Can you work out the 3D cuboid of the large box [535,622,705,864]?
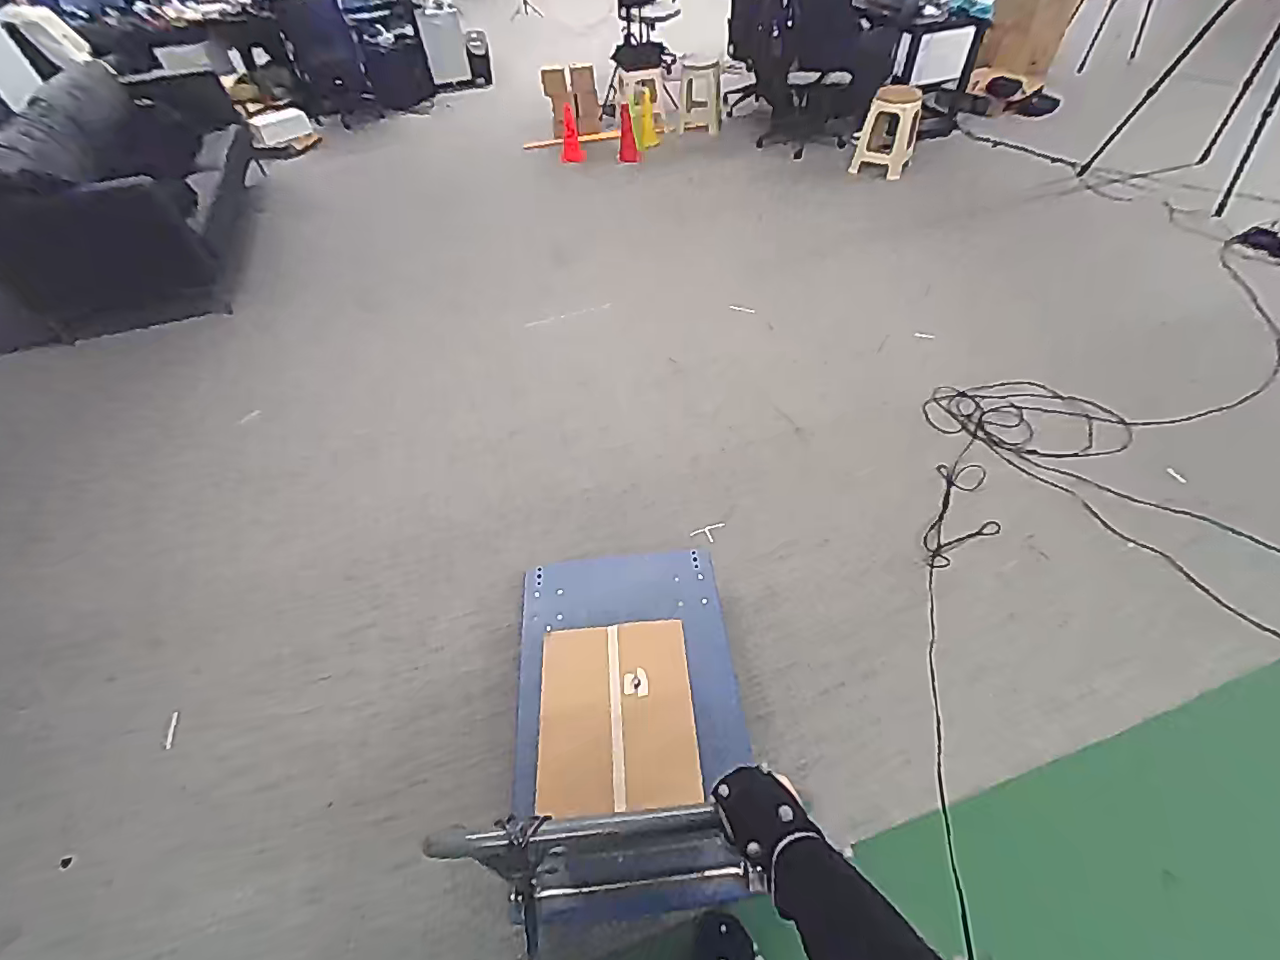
[{"bbox_3d":[-0.041,0.584,1.209,0.320,0.320,0.408,-5,48,-1],"label":"large box"}]
